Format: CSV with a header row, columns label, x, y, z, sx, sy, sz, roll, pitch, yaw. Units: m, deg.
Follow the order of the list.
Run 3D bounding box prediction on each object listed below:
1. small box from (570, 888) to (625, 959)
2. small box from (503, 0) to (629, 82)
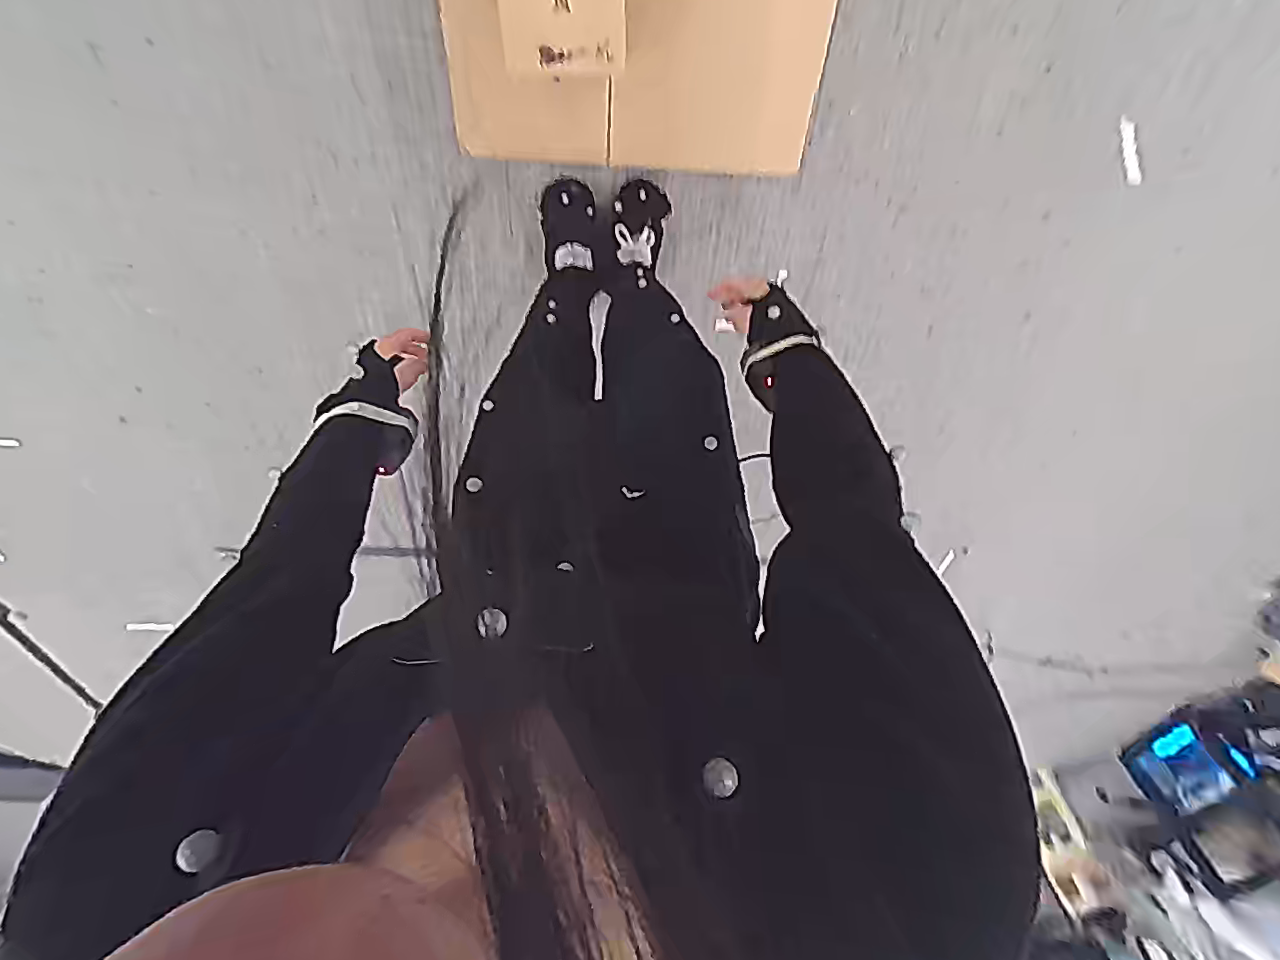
label,x,y,z,sx,sy,sz,roll,pitch,yaw
small box,-0.142,1.474,1.785,0.168,0.176,0.179,3,128,-8
small box,-0.101,-0.669,0.755,0.168,0.176,0.179,-2,129,-3
